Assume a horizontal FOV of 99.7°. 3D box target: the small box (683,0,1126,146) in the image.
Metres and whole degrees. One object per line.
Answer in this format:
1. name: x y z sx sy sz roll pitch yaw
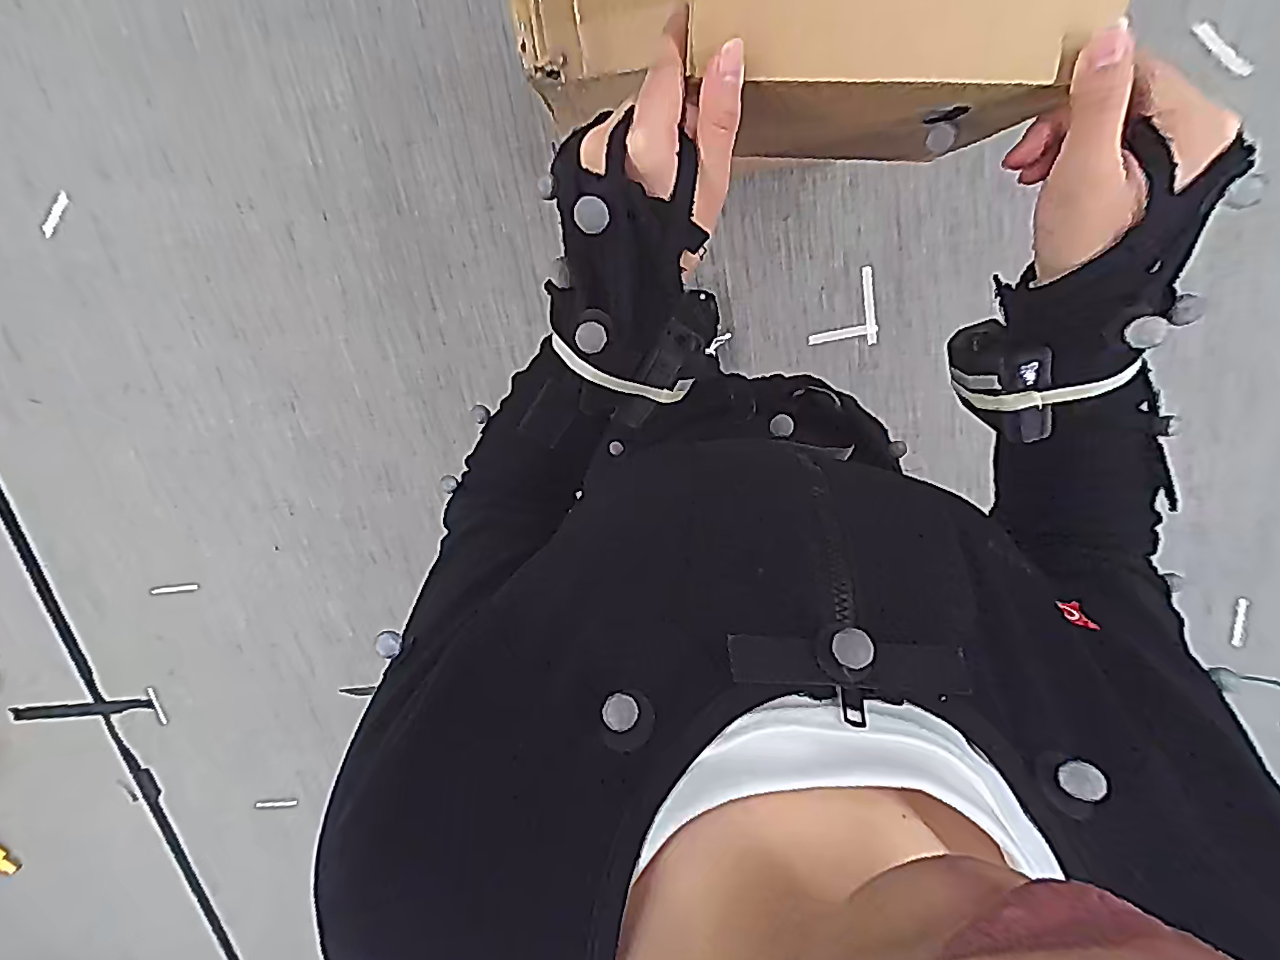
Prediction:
1. small box: 0.114 -0.280 0.270 0.179 0.176 0.168 3 111 3
